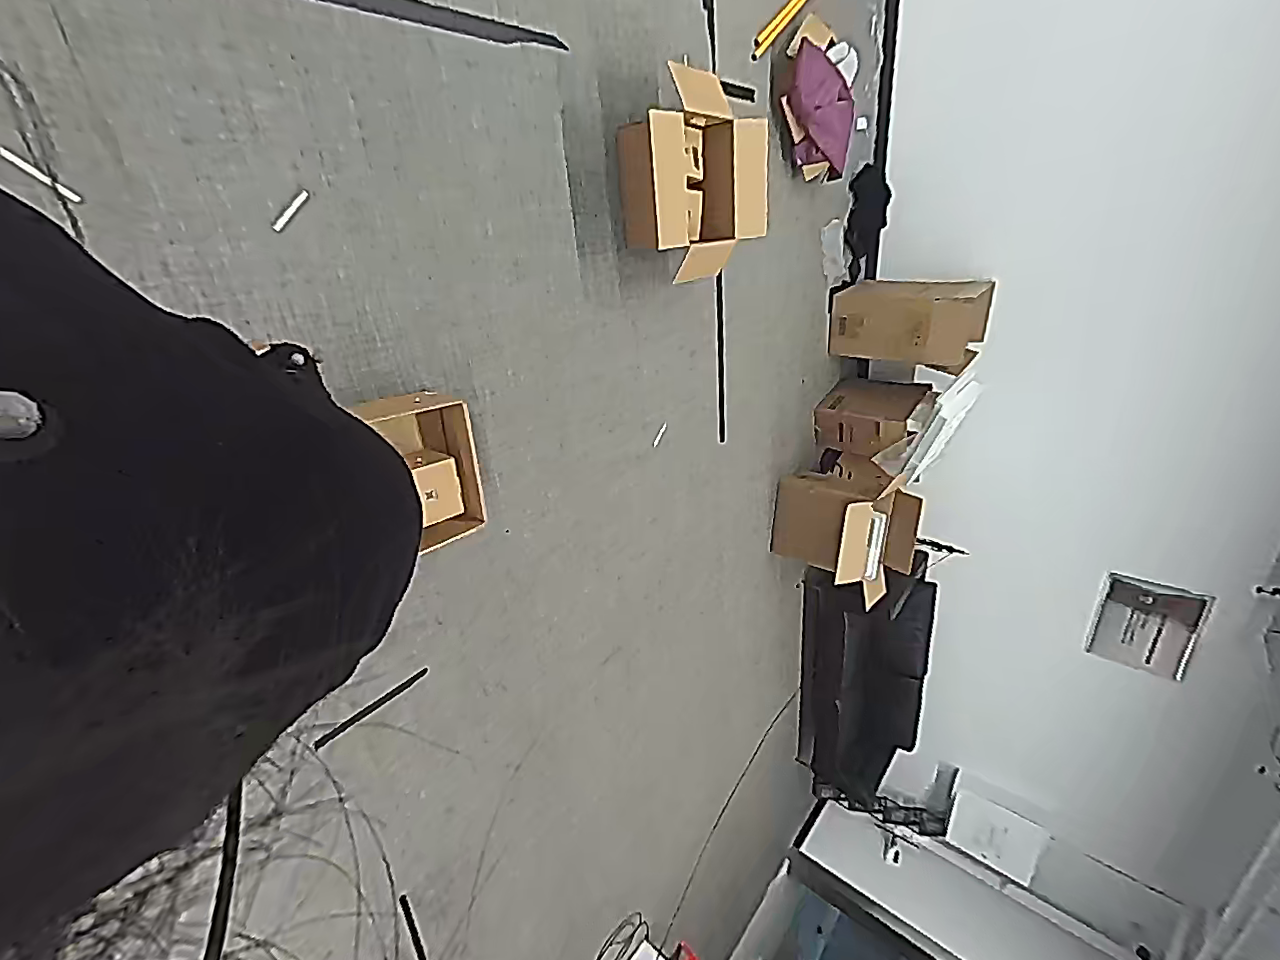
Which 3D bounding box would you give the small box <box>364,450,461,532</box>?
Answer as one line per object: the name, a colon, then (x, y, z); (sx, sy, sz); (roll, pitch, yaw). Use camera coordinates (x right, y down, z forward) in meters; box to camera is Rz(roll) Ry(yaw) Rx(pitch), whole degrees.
small box: (-0.631, 0.021, 1.501); (0.179, 0.176, 0.168); (-24, 118, -43)
